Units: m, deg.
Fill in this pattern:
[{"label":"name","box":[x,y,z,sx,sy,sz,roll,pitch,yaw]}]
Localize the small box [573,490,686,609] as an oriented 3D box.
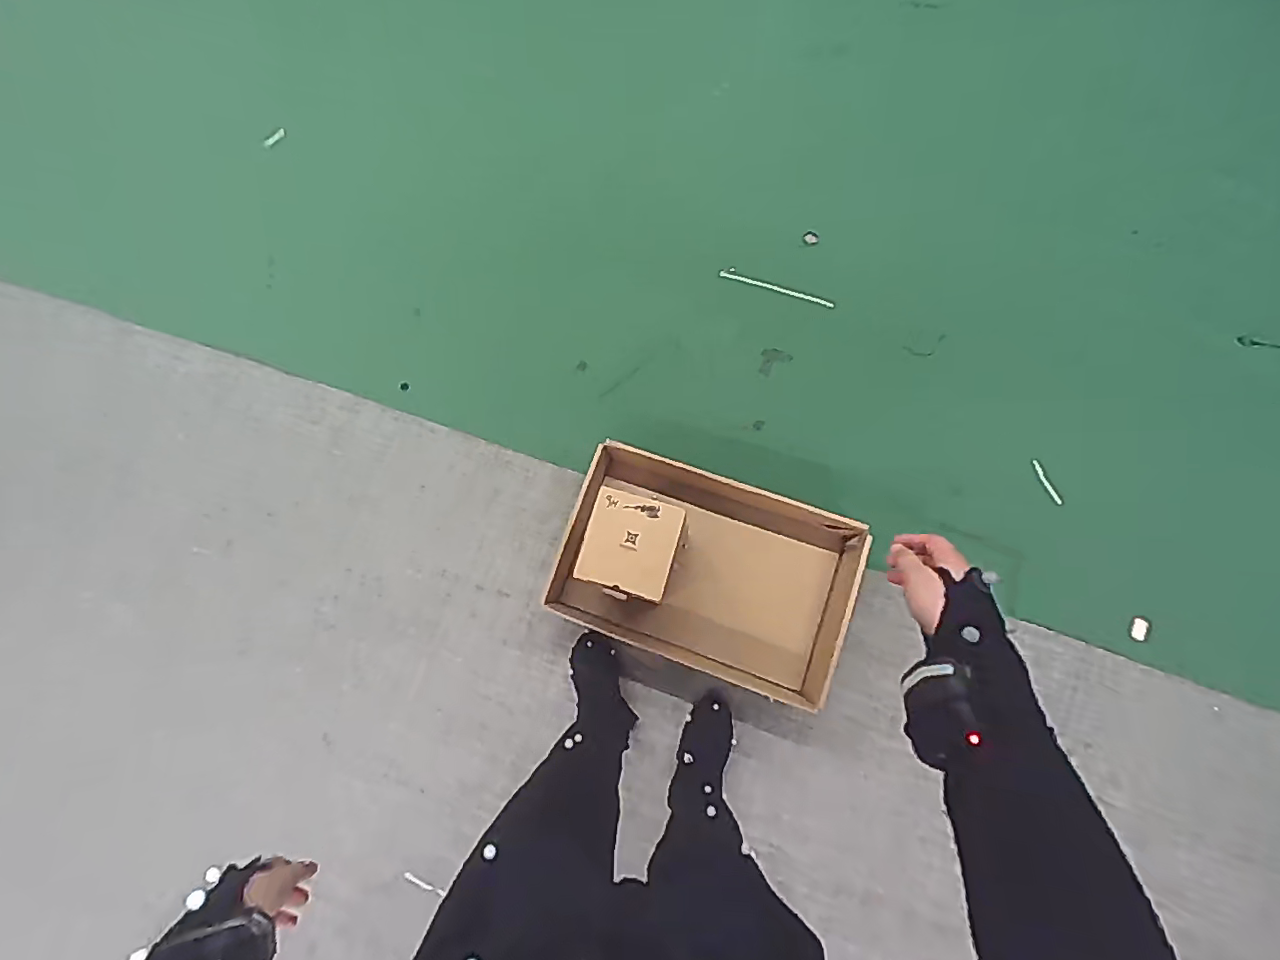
[{"label":"small box","box":[-0.012,0.136,1.037,0.168,0.176,0.179,16,81,7]}]
